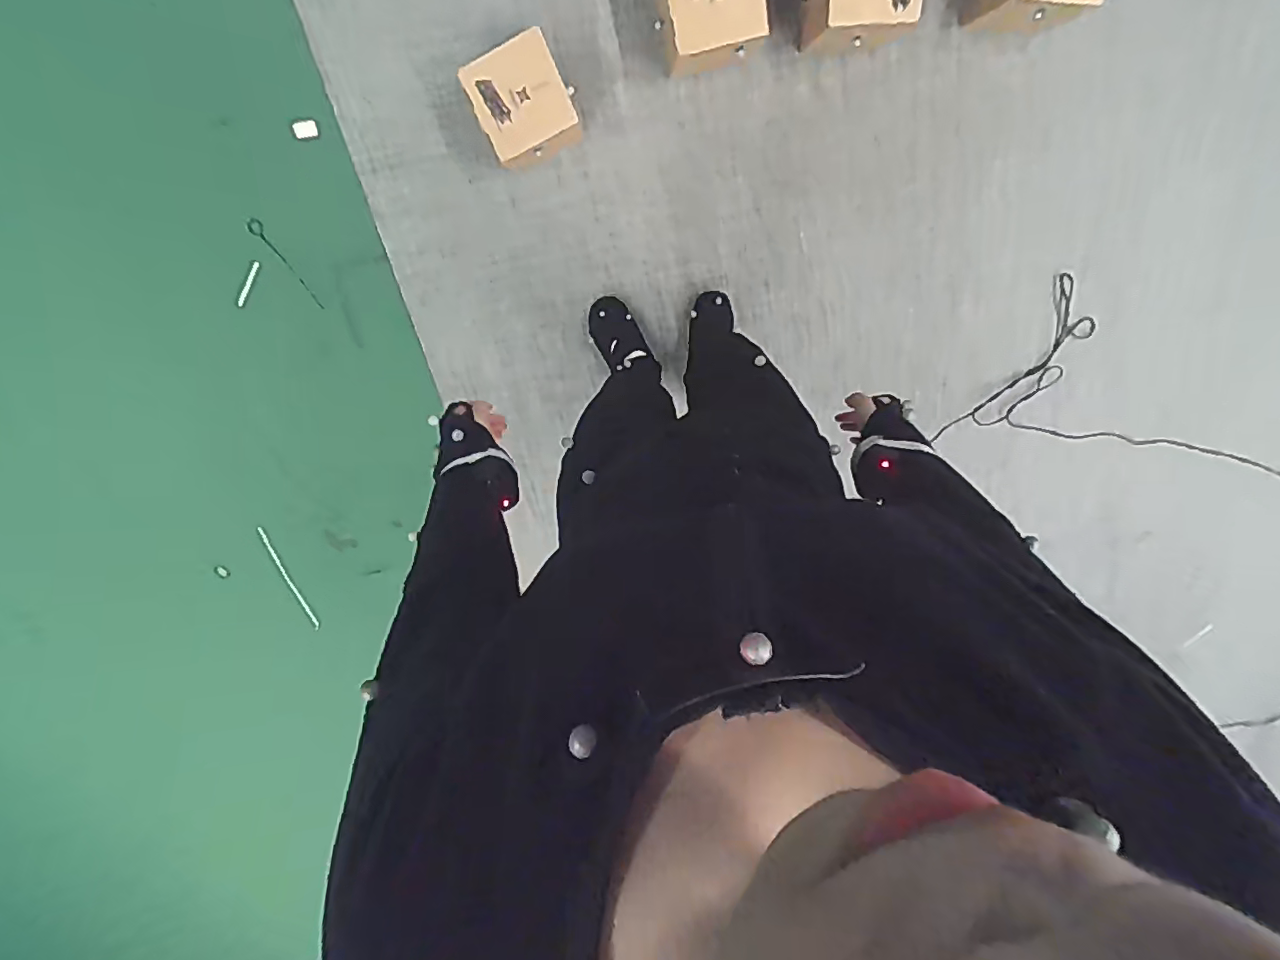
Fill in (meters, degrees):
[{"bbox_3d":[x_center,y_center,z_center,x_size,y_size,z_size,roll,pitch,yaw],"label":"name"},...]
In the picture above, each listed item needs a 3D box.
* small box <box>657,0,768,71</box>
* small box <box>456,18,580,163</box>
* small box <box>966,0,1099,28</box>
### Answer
[{"bbox_3d":[0.132,-0.916,1.032,0.179,0.176,0.168,-12,114,3],"label":"small box"},{"bbox_3d":[-0.232,-0.765,1.086,0.179,0.176,0.168,-23,114,7],"label":"small box"},{"bbox_3d":[0.768,-0.993,1.029,0.179,0.176,0.168,2,115,-5],"label":"small box"}]
